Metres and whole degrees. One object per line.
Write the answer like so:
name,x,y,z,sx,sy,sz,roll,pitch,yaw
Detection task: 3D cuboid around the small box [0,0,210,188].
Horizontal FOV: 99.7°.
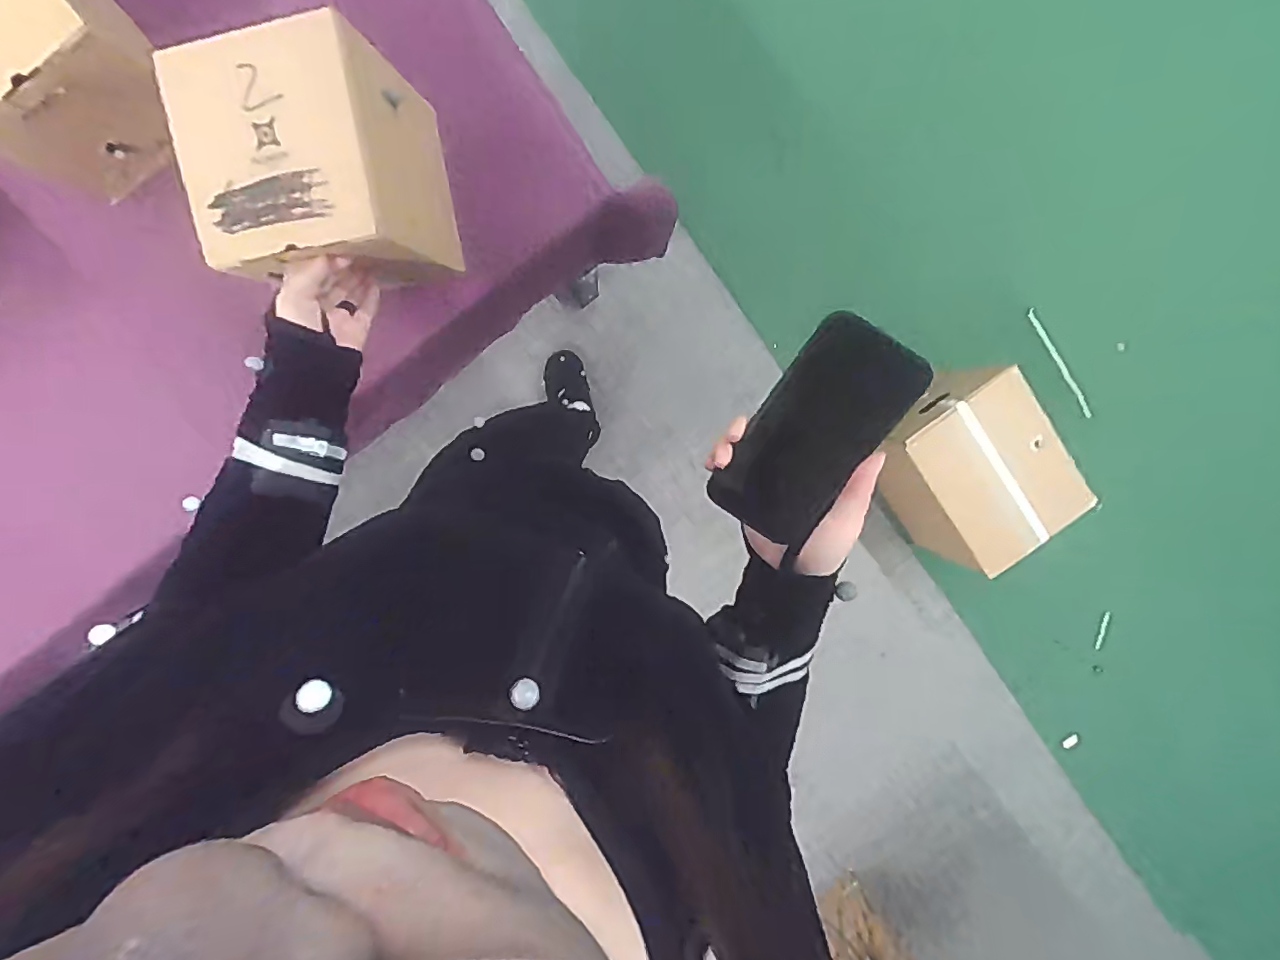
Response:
small box,-0.615,-0.445,0.554,0.168,0.176,0.179,-39,101,2
